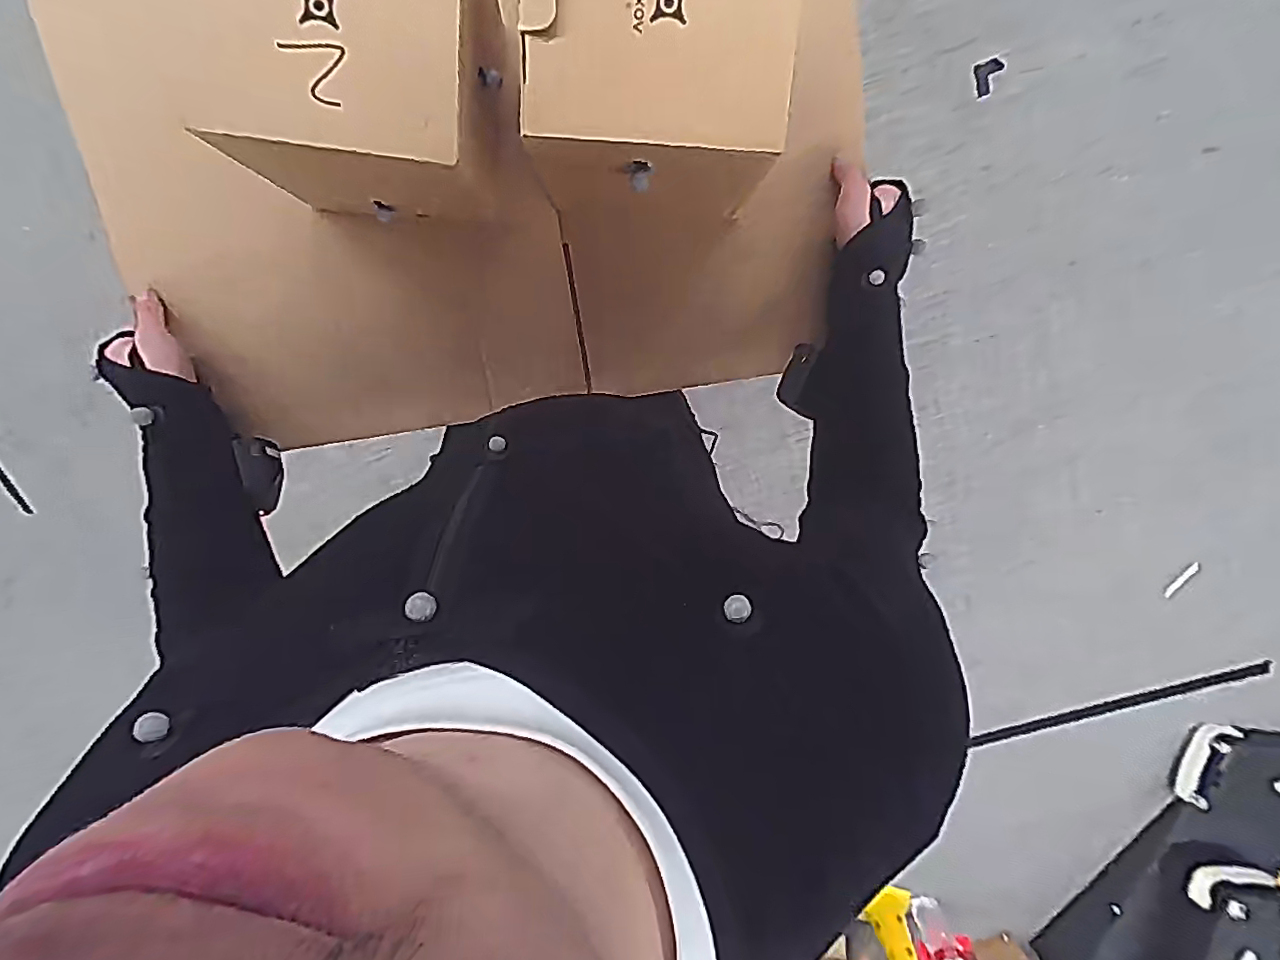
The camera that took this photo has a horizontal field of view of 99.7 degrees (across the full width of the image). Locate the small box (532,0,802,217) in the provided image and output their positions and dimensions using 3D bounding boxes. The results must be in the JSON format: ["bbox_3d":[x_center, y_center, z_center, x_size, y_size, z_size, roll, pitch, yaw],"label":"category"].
[{"bbox_3d":[0.018,-0.320,0.431,0.179,0.176,0.168,4,102,0],"label":"small box"}]
